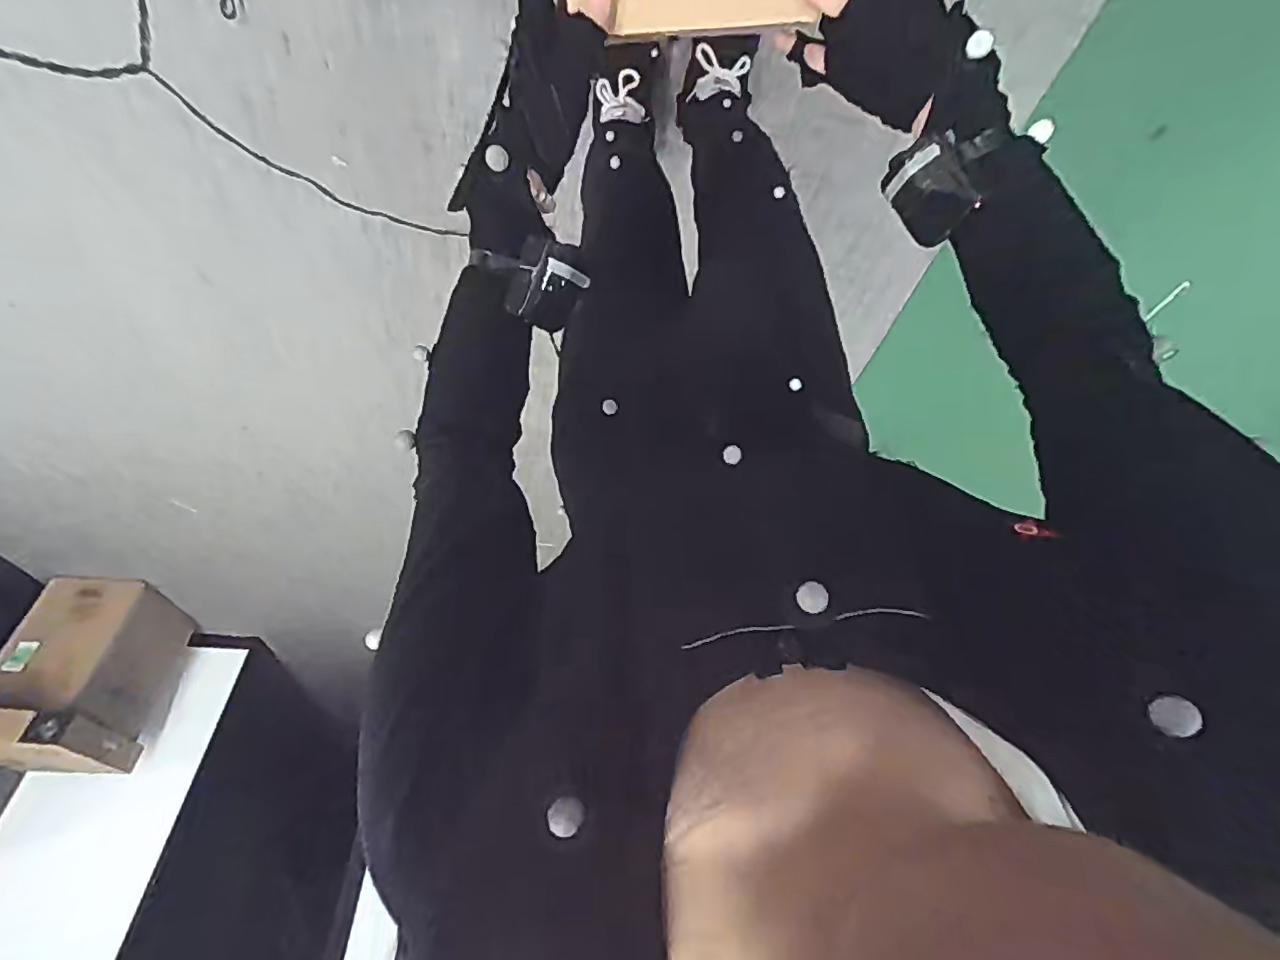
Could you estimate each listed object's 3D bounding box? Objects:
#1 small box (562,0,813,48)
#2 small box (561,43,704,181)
[{"bbox_3d":[0.026,-0.410,0.363,0.168,0.176,0.179,-4,131,-2],"label":"small box"},{"bbox_3d":[-0.019,-0.679,0.967,0.179,0.176,0.168,46,136,-15],"label":"small box"}]
